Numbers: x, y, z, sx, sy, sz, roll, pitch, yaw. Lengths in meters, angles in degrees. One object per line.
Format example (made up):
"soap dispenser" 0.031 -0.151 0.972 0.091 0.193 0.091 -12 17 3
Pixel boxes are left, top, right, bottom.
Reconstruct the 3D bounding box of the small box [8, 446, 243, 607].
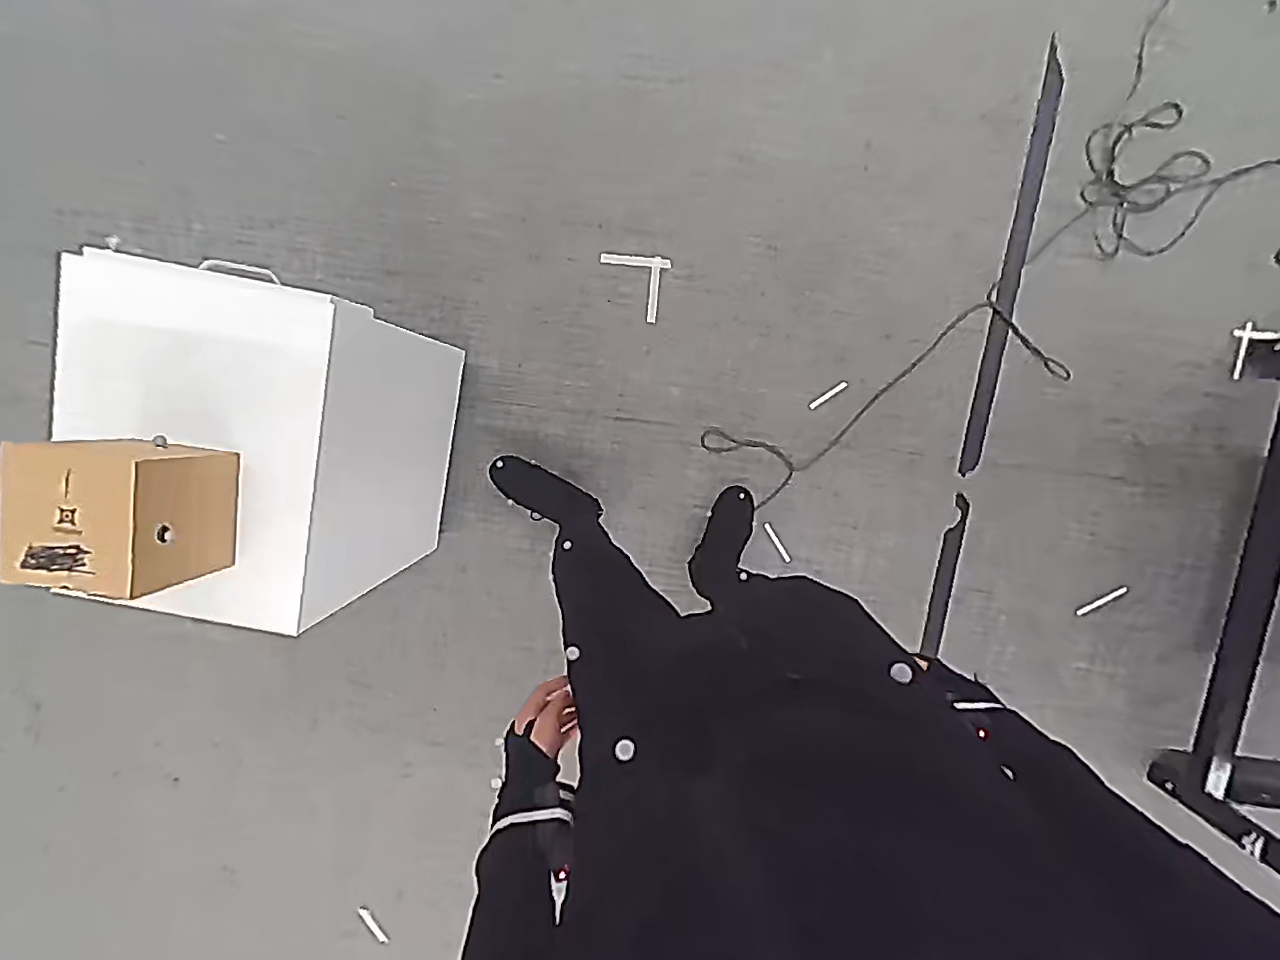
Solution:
"small box" -0.682 0.052 0.735 0.168 0.176 0.179 7 95 0
